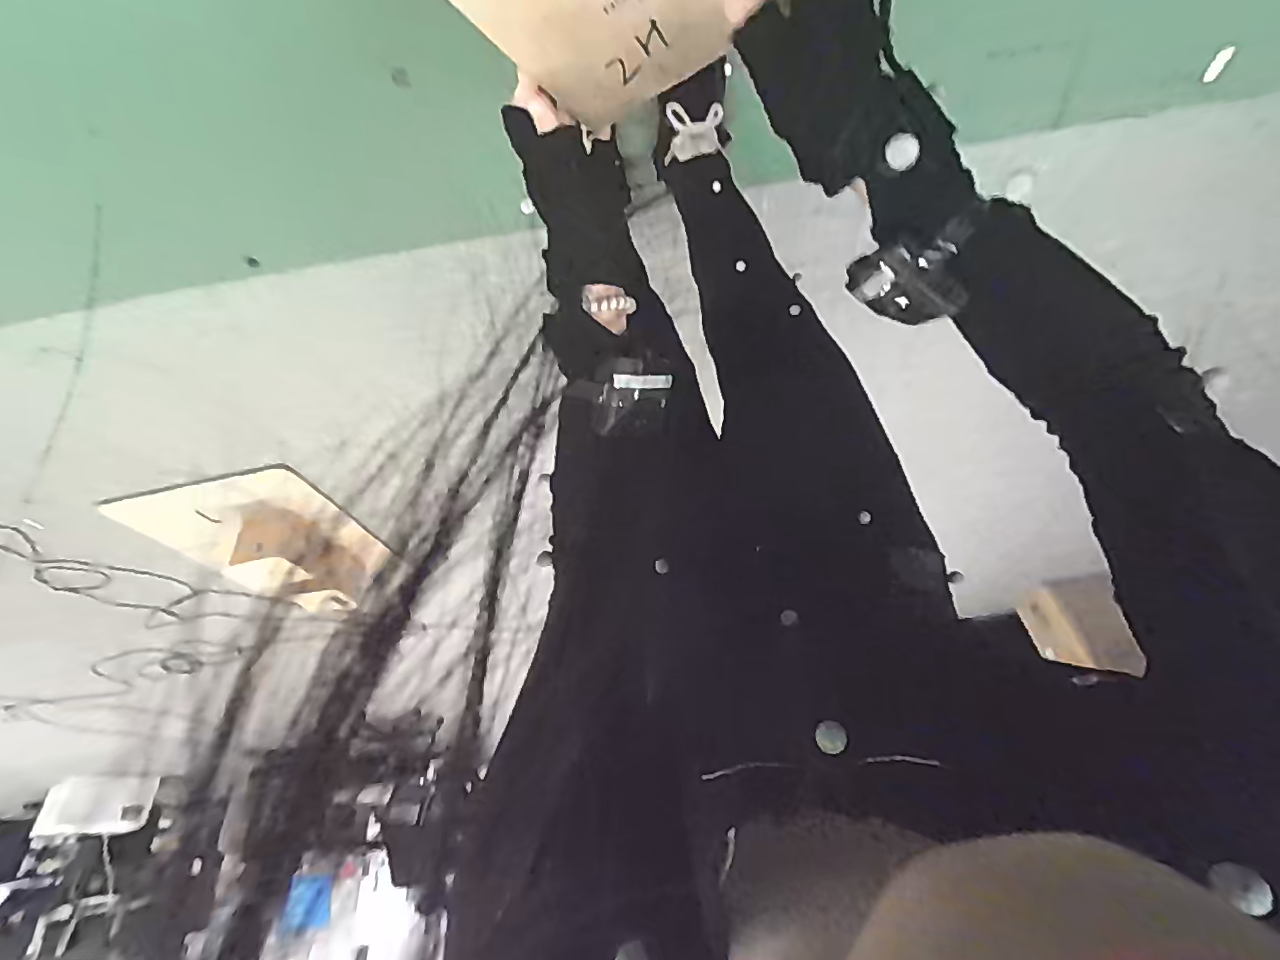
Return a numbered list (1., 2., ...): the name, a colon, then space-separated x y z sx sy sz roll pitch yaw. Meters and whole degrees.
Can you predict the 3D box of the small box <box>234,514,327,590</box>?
1. small box: -1.155 0.234 1.754 0.179 0.176 0.168 -13 144 4
